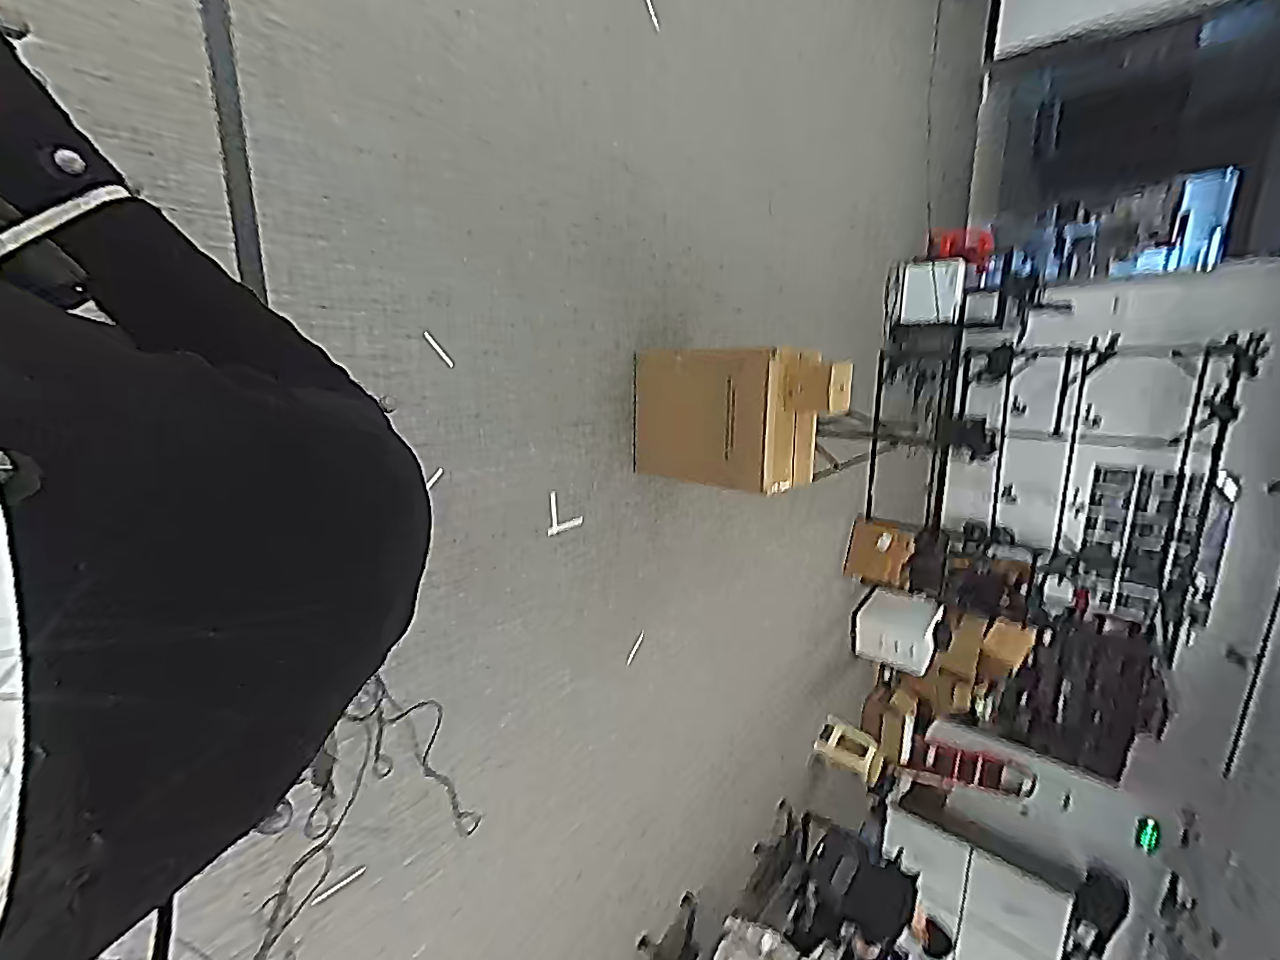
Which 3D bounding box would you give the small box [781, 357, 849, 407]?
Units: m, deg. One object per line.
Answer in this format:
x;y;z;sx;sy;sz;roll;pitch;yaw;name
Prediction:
0.623;-0.352;1.924;0.179;0.176;0.168;-15;109;-45;small box
